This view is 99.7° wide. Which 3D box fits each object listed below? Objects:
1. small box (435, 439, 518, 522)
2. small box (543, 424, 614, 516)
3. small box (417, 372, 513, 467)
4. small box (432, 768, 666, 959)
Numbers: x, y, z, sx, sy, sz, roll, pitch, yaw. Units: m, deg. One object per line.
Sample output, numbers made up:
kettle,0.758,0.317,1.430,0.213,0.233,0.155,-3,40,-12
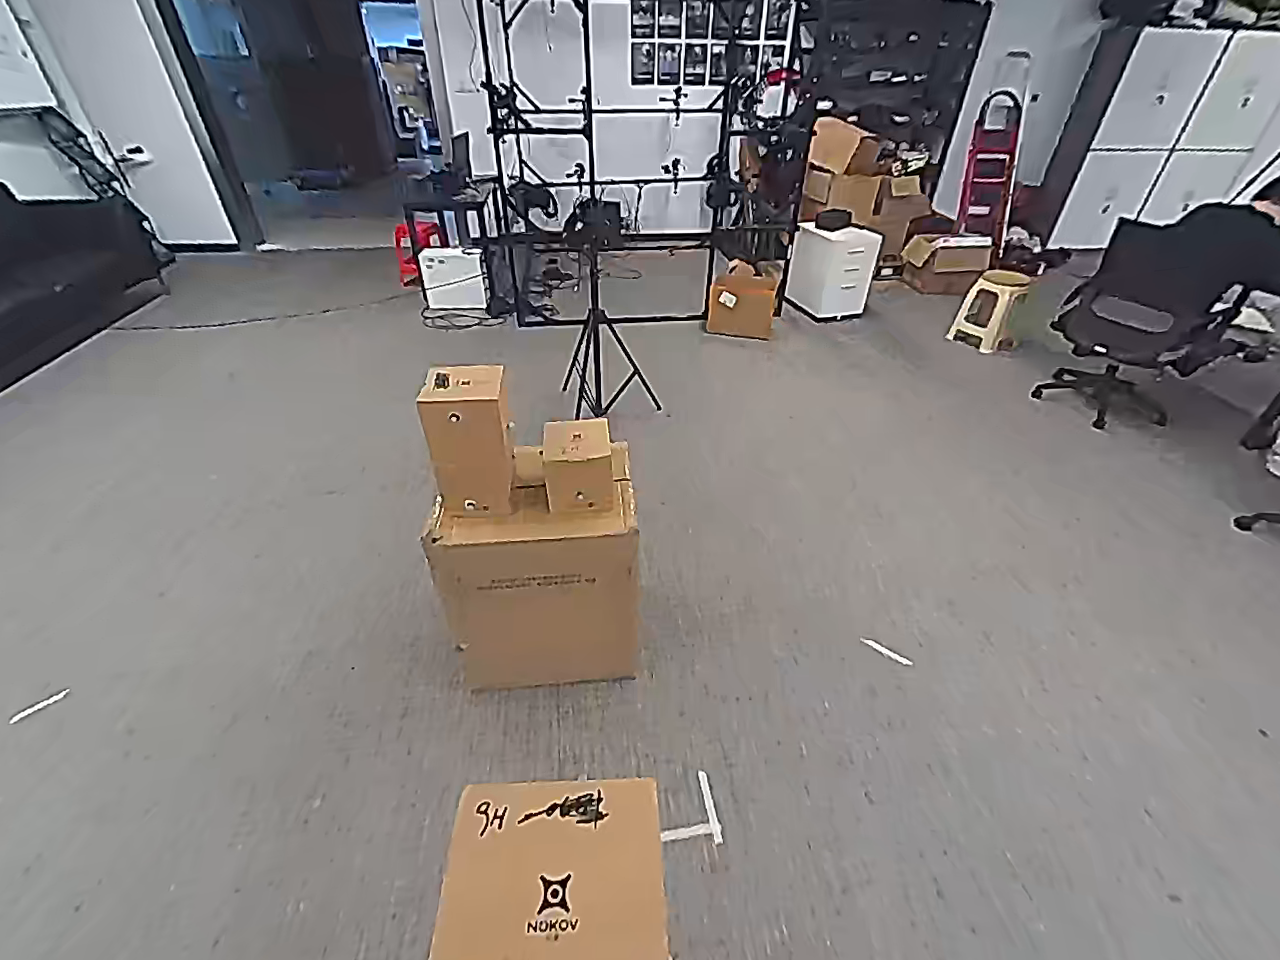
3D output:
small box,-0.409,-0.013,1.385,0.168,0.176,0.179,-4,39,-5
small box,-0.157,-0.027,1.402,0.168,0.176,0.179,-5,38,-4
small box,-0.405,-0.142,1.284,0.179,0.176,0.168,-3,38,-6
small box,-0.065,0.369,0.453,0.168,0.176,0.179,-1,40,-3
